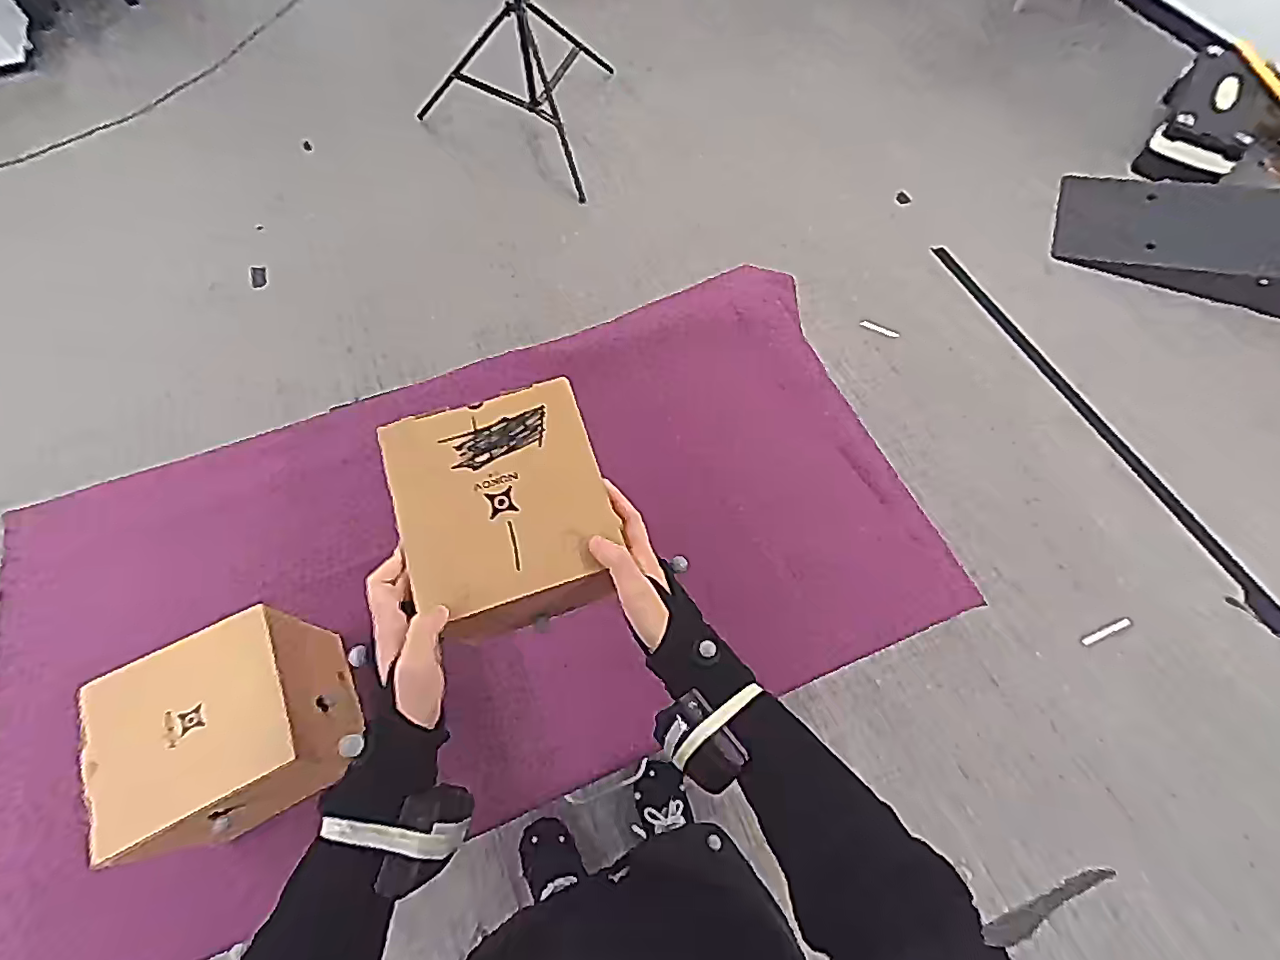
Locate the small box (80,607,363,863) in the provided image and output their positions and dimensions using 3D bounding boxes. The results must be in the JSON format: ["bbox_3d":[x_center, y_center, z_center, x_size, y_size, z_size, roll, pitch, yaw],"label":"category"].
[{"bbox_3d":[-0.428,0.264,0.584,0.179,0.176,0.168,-27,67,-12],"label":"small box"}]

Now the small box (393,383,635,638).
[{"bbox_3d":[-0.112,0.039,0.520,0.168,0.176,0.179,-17,72,-9],"label":"small box"}]
